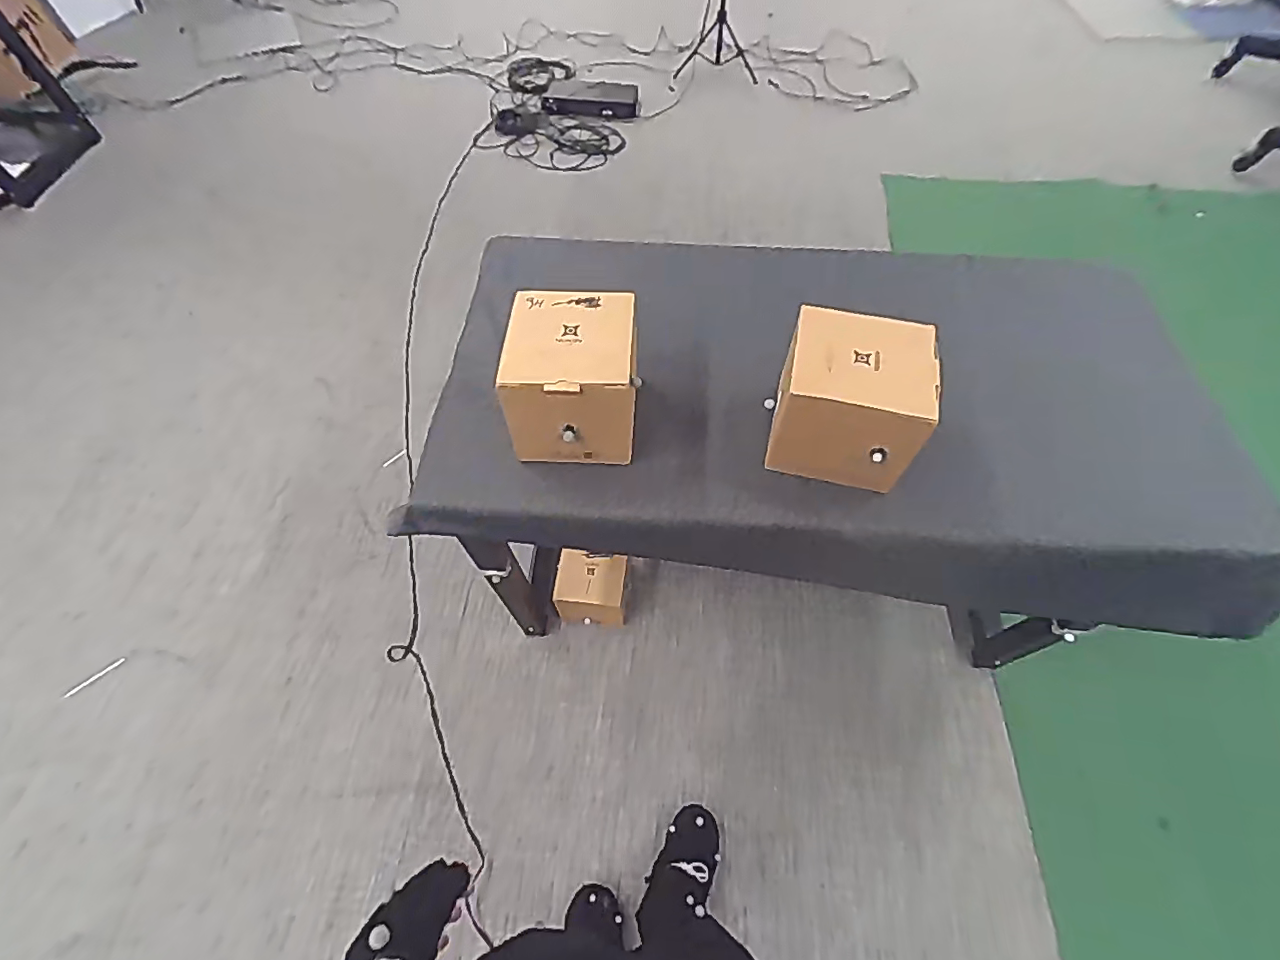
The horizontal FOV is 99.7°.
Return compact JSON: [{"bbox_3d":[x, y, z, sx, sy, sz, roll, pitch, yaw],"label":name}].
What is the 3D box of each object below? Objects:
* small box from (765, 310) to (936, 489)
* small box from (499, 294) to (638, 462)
[{"bbox_3d":[0.284,-0.106,0.754,0.179,0.176,0.168,11,57,8],"label":"small box"},{"bbox_3d":[-0.089,-0.141,0.773,0.168,0.176,0.179,2,58,1],"label":"small box"}]
